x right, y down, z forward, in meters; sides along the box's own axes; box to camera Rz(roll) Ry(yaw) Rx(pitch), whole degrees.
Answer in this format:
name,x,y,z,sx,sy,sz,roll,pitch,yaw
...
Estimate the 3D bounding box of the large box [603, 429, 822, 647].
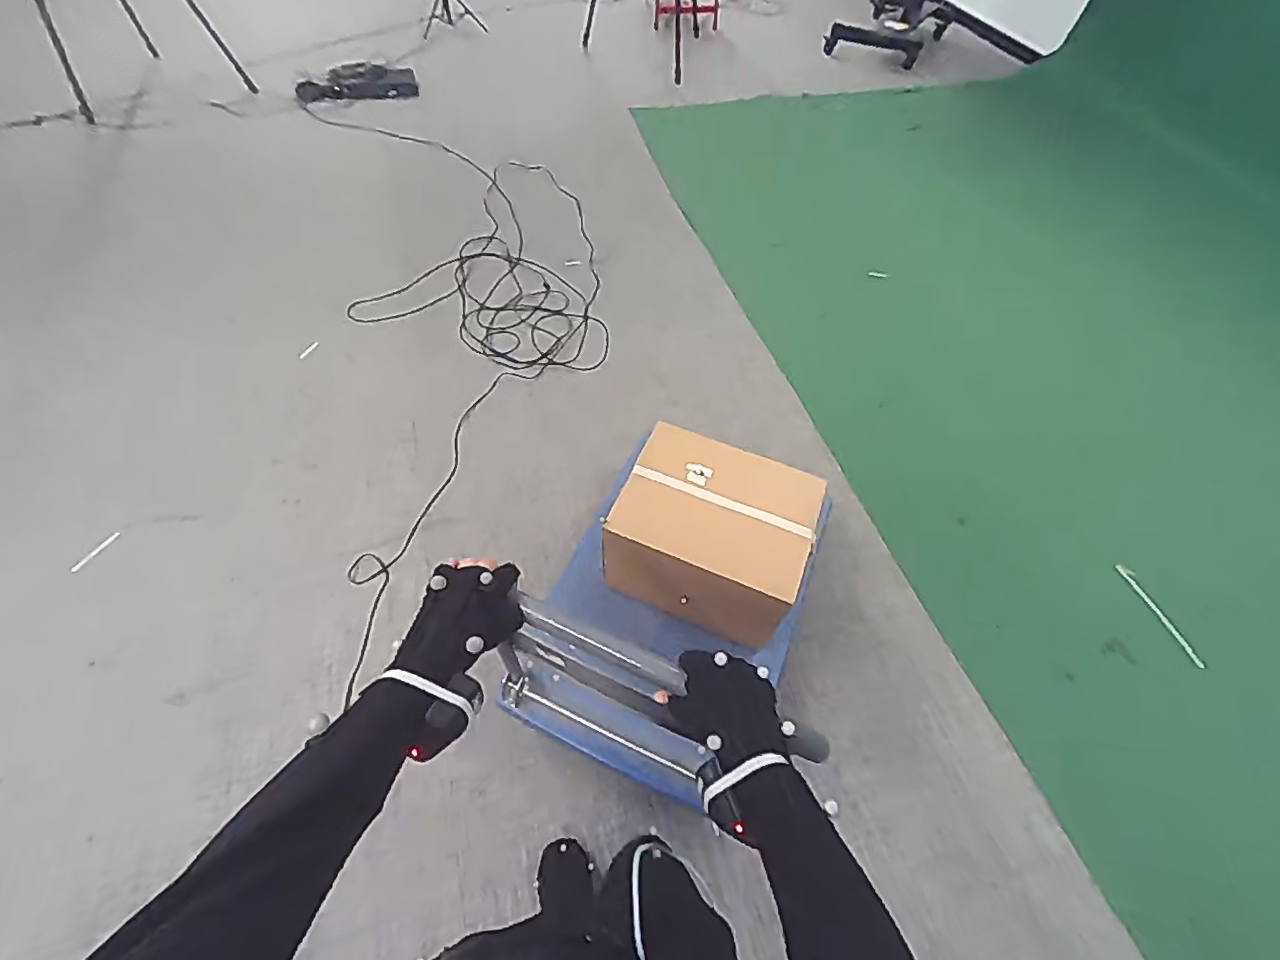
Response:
name,x,y,z,sx,sy,sz,roll,pitch,yaw
large box,0.160,0.143,1.273,0.408,0.320,0.320,21,57,11
